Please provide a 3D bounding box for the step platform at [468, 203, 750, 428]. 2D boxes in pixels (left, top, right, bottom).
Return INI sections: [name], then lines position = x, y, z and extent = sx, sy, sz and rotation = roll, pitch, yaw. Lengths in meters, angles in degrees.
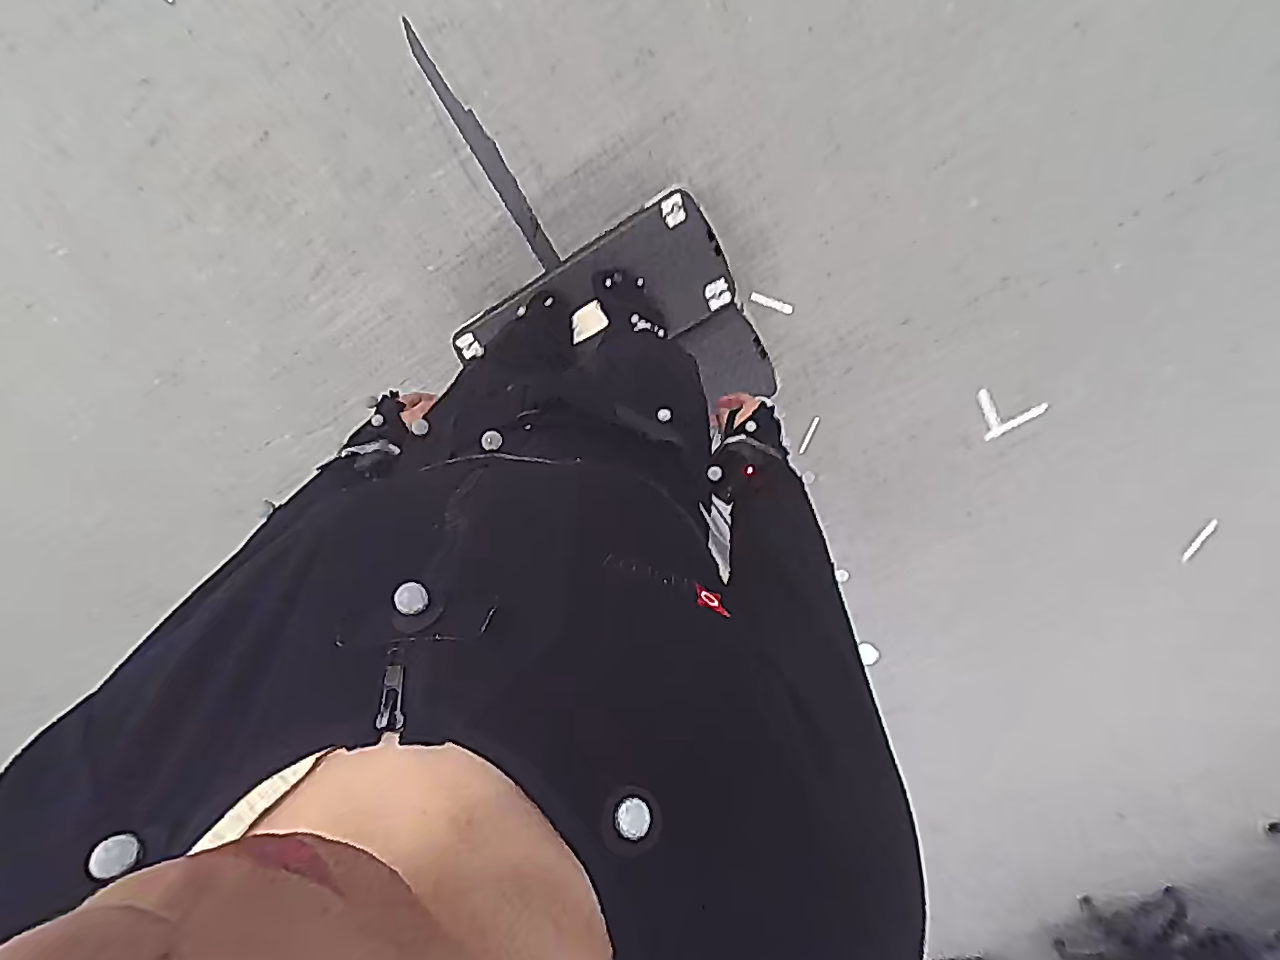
[step platform]
position = -0.077, -0.396, 1.346
extent = 0.684, 0.204, 0.286
rotation = -25, 112, 10
